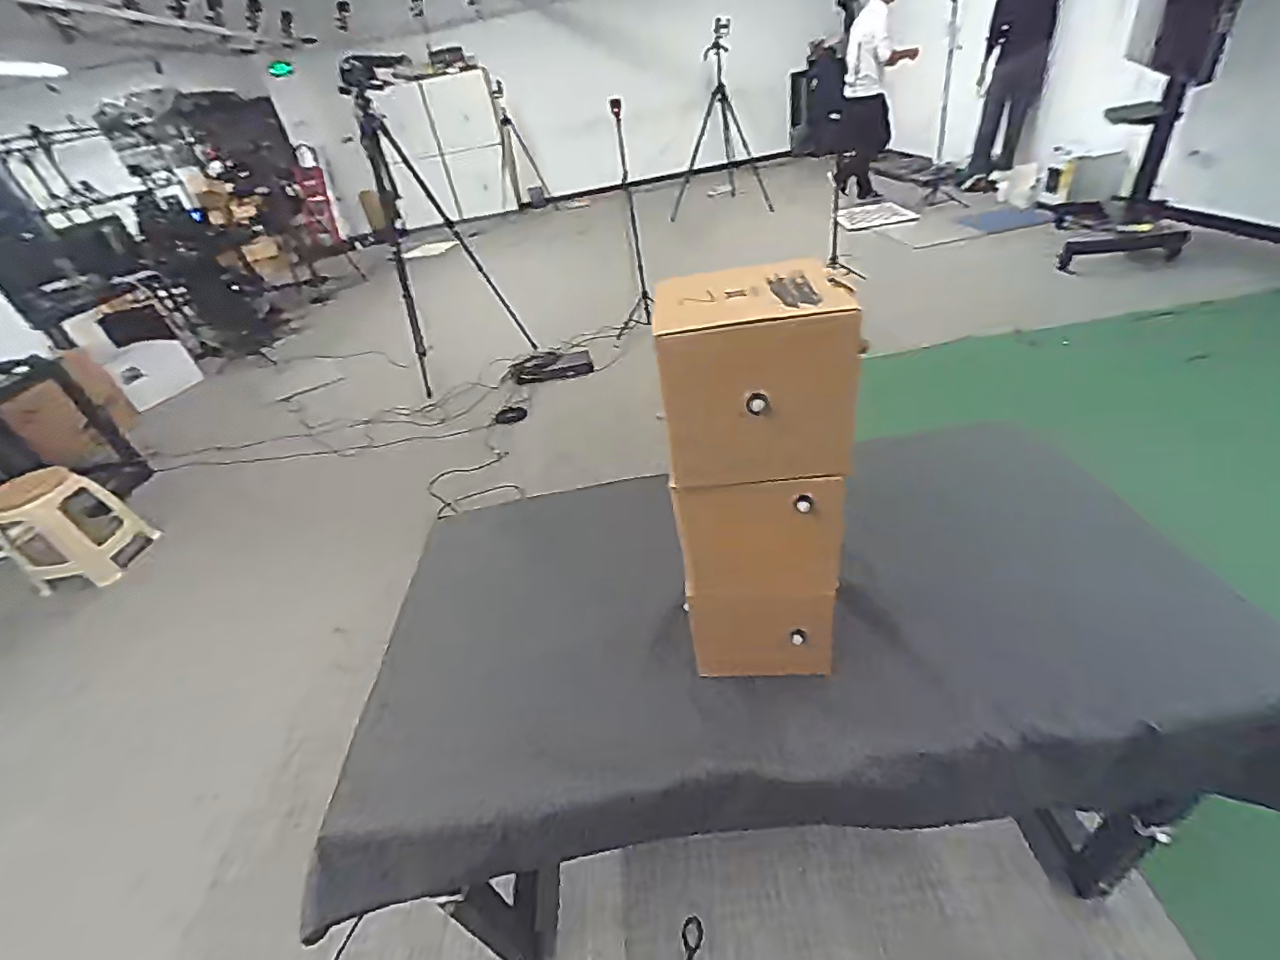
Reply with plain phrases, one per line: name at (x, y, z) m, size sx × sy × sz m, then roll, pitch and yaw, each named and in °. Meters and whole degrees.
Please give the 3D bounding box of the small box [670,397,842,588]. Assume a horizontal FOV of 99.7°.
small box at (0.136, 0.017, 0.657) m, size 0.179 × 0.176 × 0.168 m, roll -4°, pitch 36°, yaw 9°

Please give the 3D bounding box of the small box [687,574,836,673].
small box at (0.162, 0.149, 0.748) m, size 0.179 × 0.176 × 0.168 m, roll -5°, pitch 35°, yaw 10°
